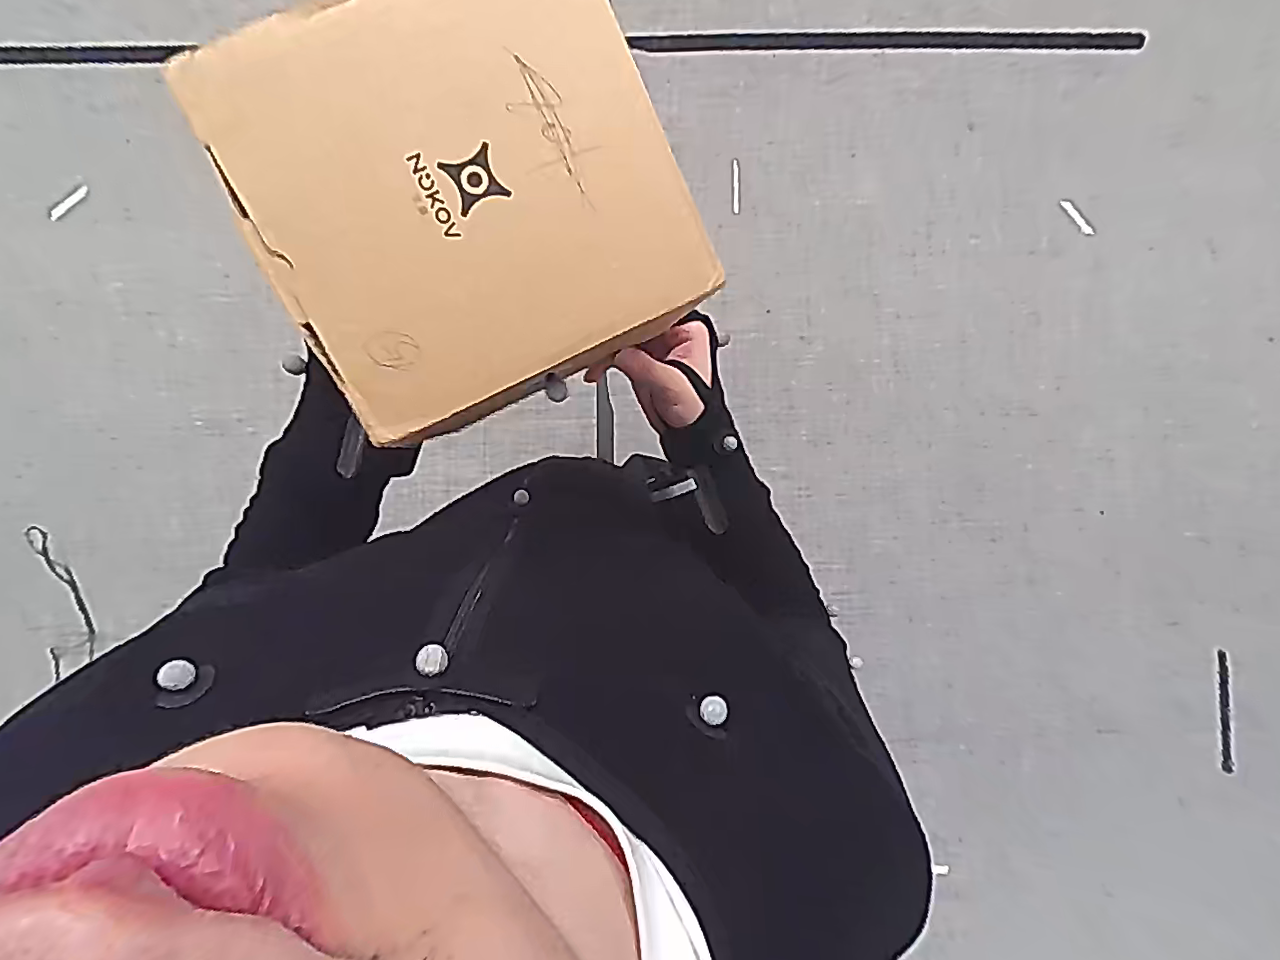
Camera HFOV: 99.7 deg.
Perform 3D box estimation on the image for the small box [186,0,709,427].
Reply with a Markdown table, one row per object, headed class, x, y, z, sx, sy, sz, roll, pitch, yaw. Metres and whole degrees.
| class | x | y | z | sx | sy | sz | roll | pitch | yaw |
| --- | --- | --- | --- | --- | --- | --- | --- | --- | --- |
| small box | -0.087 | -0.141 | 0.319 | 0.179 | 0.176 | 0.168 | -29 | 100 | -4 |
